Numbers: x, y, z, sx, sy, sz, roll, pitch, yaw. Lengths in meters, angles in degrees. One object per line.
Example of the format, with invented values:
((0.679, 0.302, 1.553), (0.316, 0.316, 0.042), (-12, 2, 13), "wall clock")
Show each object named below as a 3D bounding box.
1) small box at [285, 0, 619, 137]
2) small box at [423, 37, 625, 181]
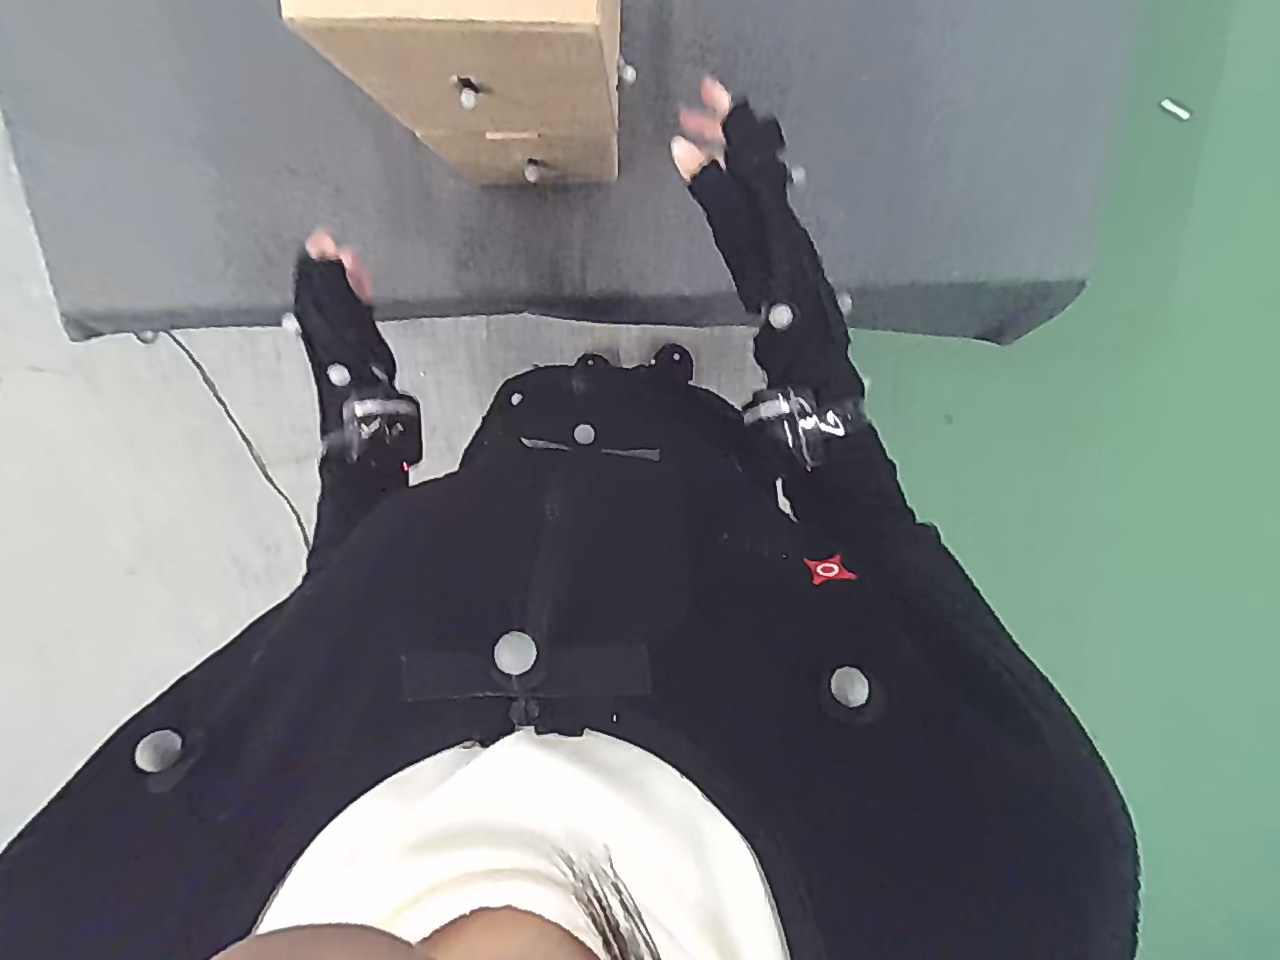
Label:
((-0.104, -0.345, 0.353), (0.179, 0.176, 0.168), (2, 105, 3), "small box")
((-0.104, -0.396, 0.511), (0.168, 0.176, 0.179), (-2, 106, 3), "small box")
